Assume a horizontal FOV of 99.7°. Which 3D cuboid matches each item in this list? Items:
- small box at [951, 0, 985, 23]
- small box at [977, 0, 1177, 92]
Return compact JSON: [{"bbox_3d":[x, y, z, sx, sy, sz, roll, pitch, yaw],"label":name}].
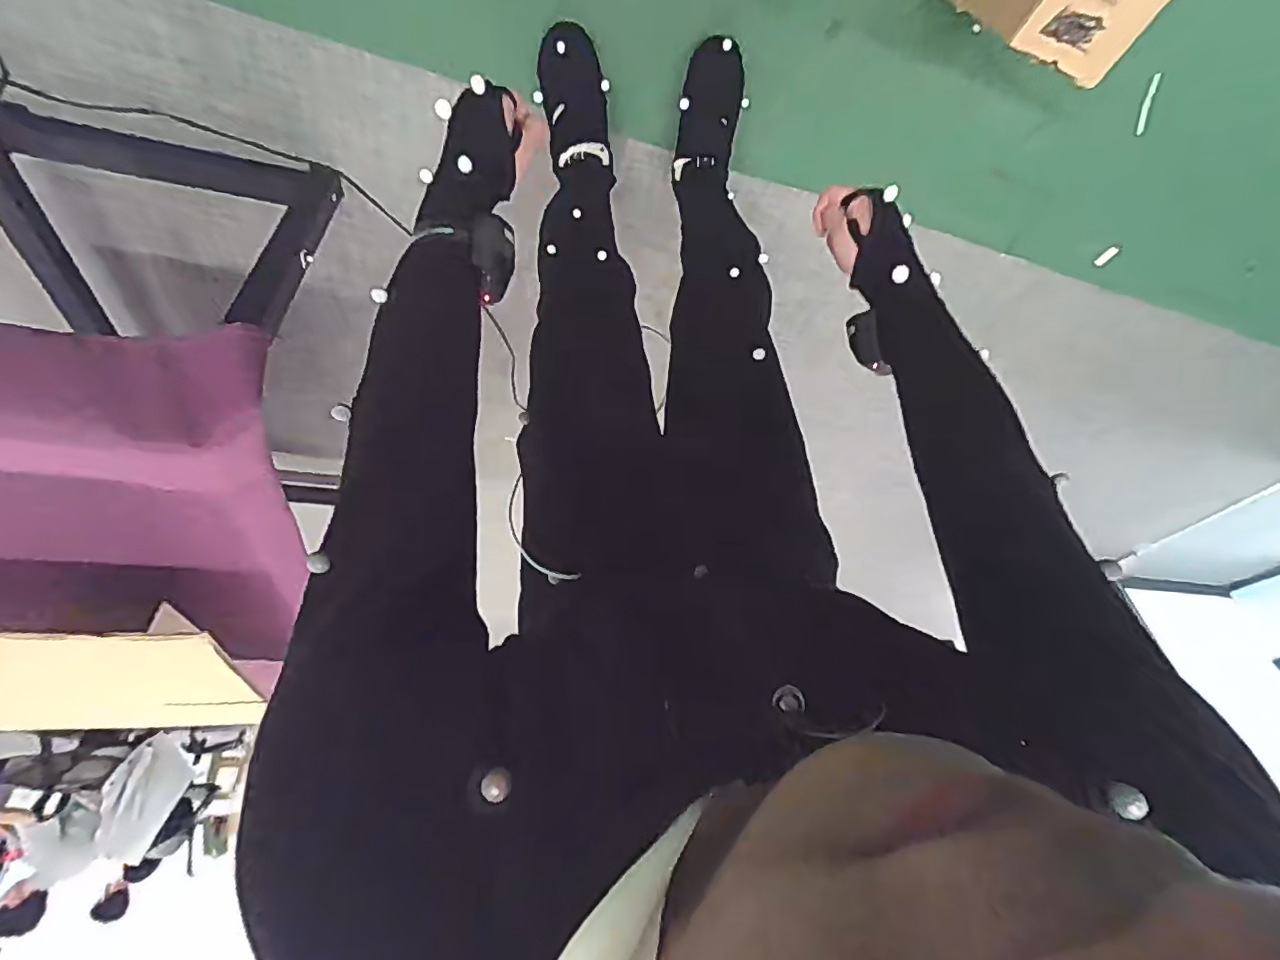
[{"bbox_3d":[0.582,-0.810,0.818,0.168,0.176,0.179,8,143,-18],"label":"small box"},{"bbox_3d":[0.593,-0.677,0.723,0.168,0.176,0.179,9,142,-19],"label":"small box"}]
